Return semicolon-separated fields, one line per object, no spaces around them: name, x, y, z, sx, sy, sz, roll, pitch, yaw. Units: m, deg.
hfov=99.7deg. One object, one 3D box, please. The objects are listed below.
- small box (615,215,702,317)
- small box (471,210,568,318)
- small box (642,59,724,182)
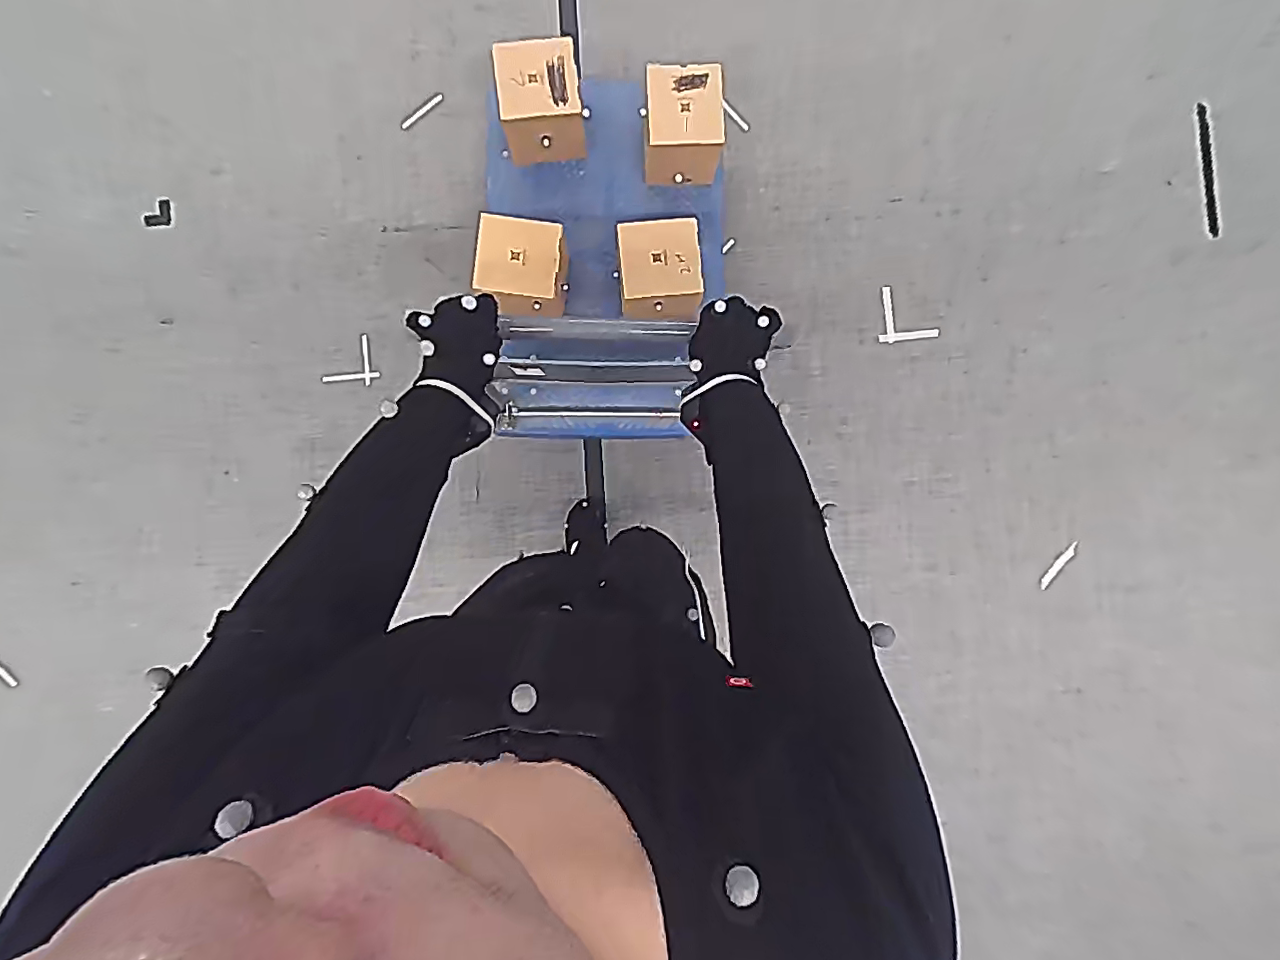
small box;0.039;-0.479;1.233;0.179;0.176;0.168;-5;90;-2
small box;-0.264;-0.478;1.221;0.179;0.176;0.168;6;89;-4
small box;0.093;-0.814;1.237;0.168;0.176;0.179;-3;91;-2
